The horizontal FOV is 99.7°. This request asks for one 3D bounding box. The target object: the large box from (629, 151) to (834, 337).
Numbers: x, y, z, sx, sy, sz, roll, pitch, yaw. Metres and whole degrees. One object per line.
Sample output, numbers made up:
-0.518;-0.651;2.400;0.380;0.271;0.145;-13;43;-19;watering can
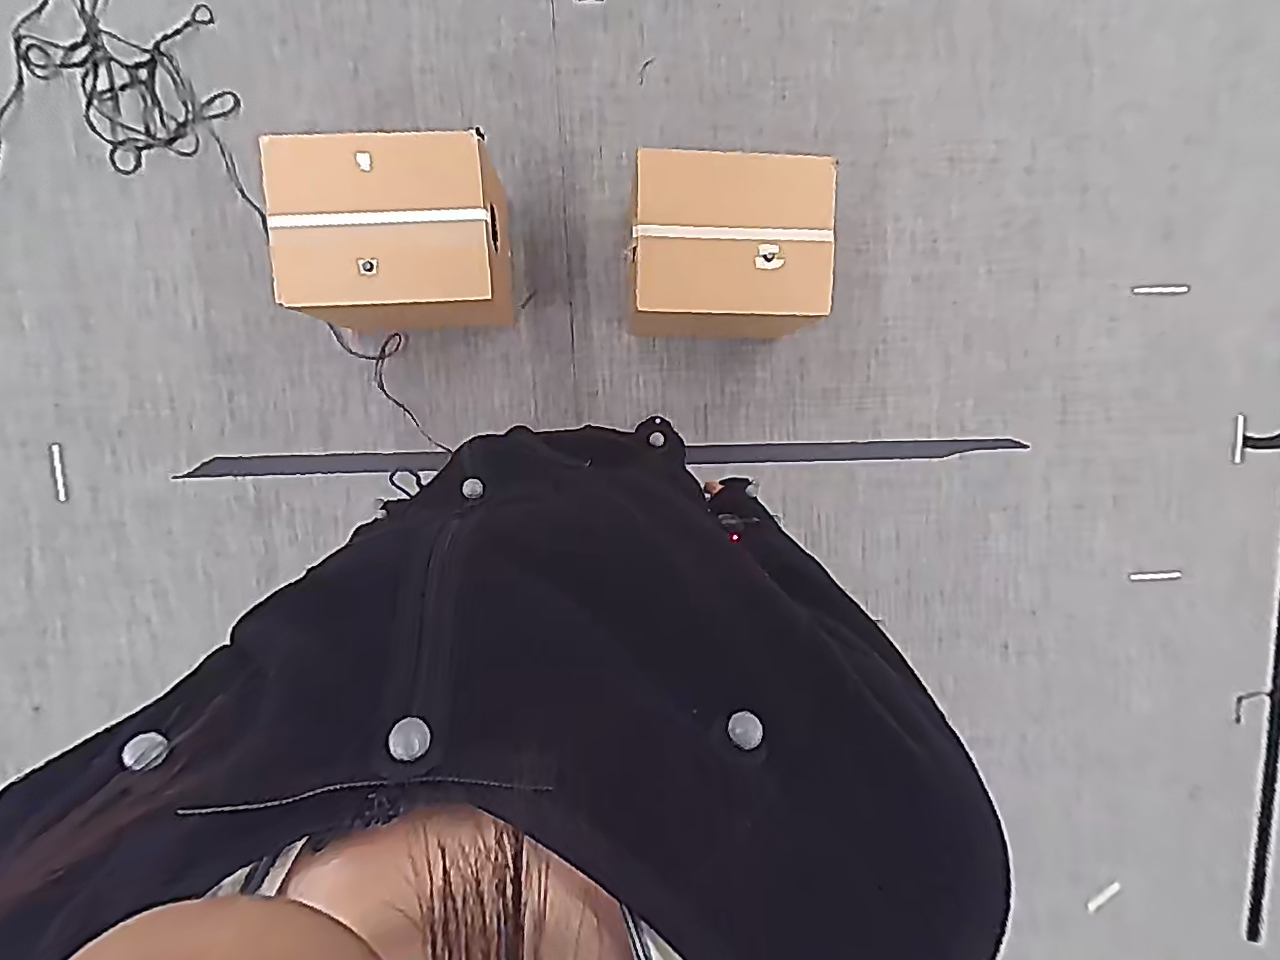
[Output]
0.183;-0.512;1.244;0.408;0.320;0.320;0;96;-5;large box
